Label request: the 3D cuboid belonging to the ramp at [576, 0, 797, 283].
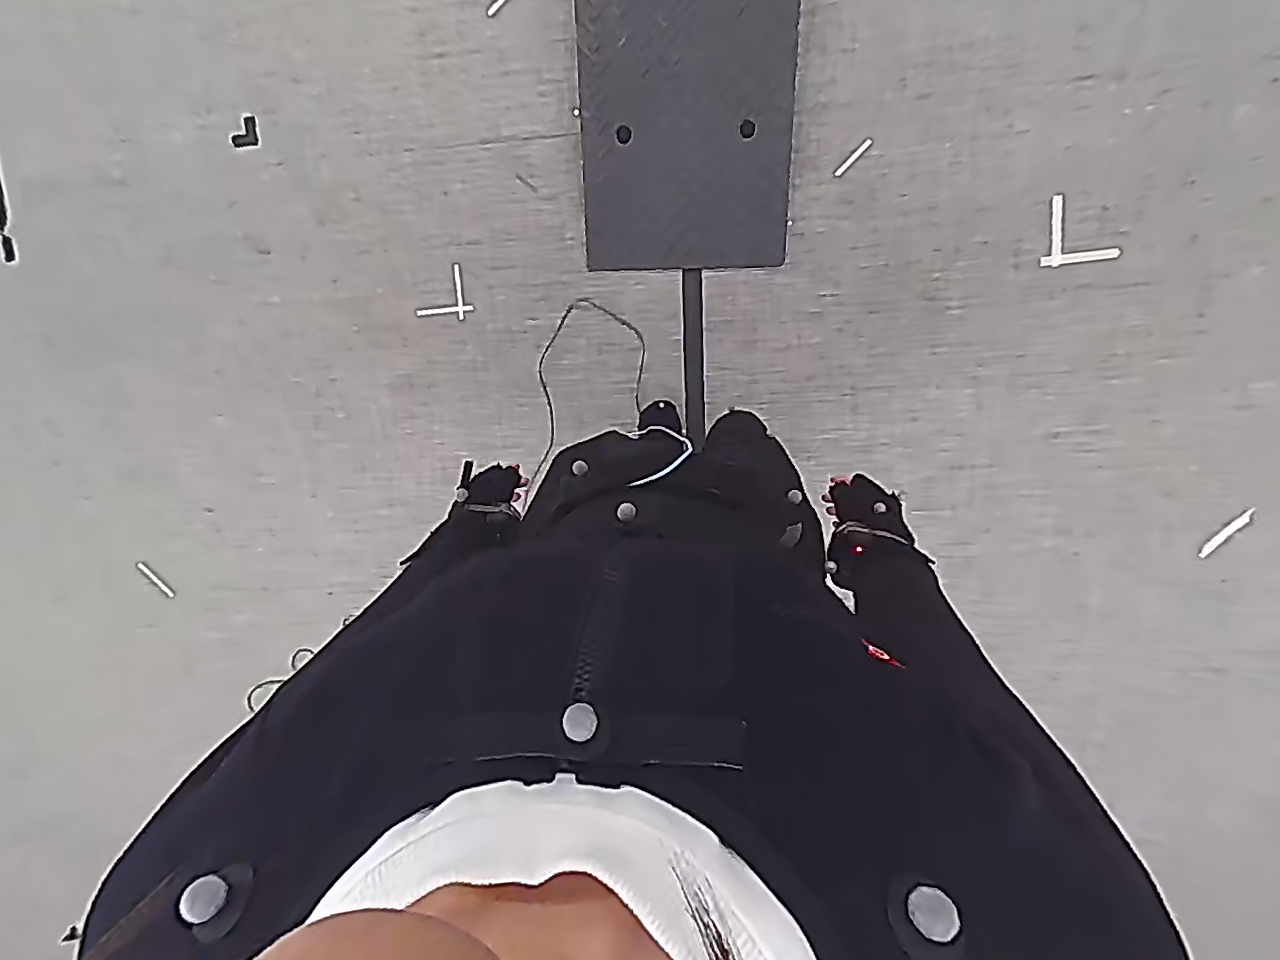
[{"bbox_3d":[0.104,-0.987,1.216,0.509,0.206,0.991,-3,98,4],"label":"ramp"}]
